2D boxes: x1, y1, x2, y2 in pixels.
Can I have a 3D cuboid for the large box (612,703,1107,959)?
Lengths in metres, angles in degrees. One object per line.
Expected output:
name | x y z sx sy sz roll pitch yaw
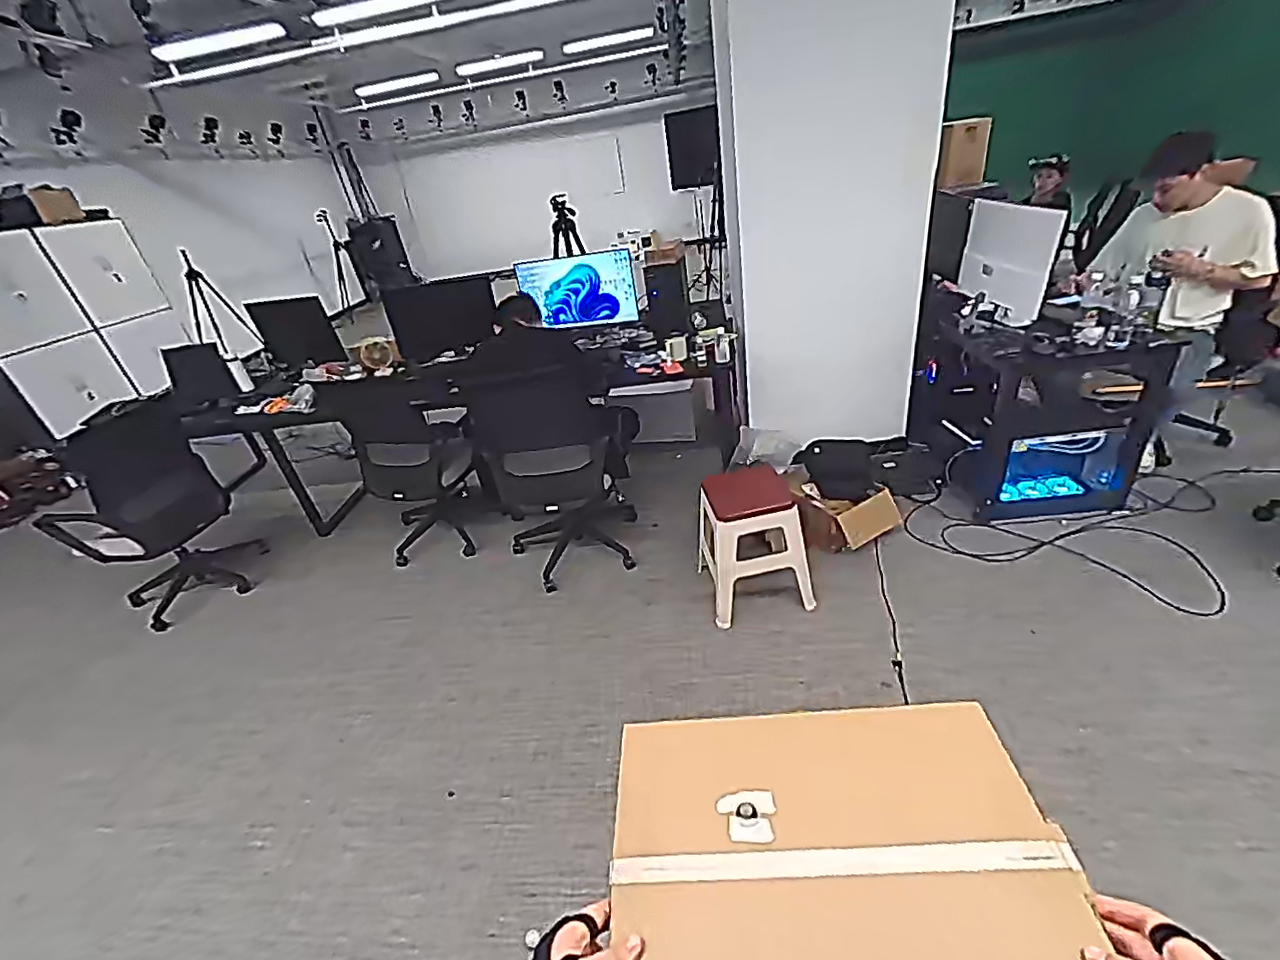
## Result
large box | 0.202 0.486 0.584 0.408 0.320 0.320 -9 31 8
